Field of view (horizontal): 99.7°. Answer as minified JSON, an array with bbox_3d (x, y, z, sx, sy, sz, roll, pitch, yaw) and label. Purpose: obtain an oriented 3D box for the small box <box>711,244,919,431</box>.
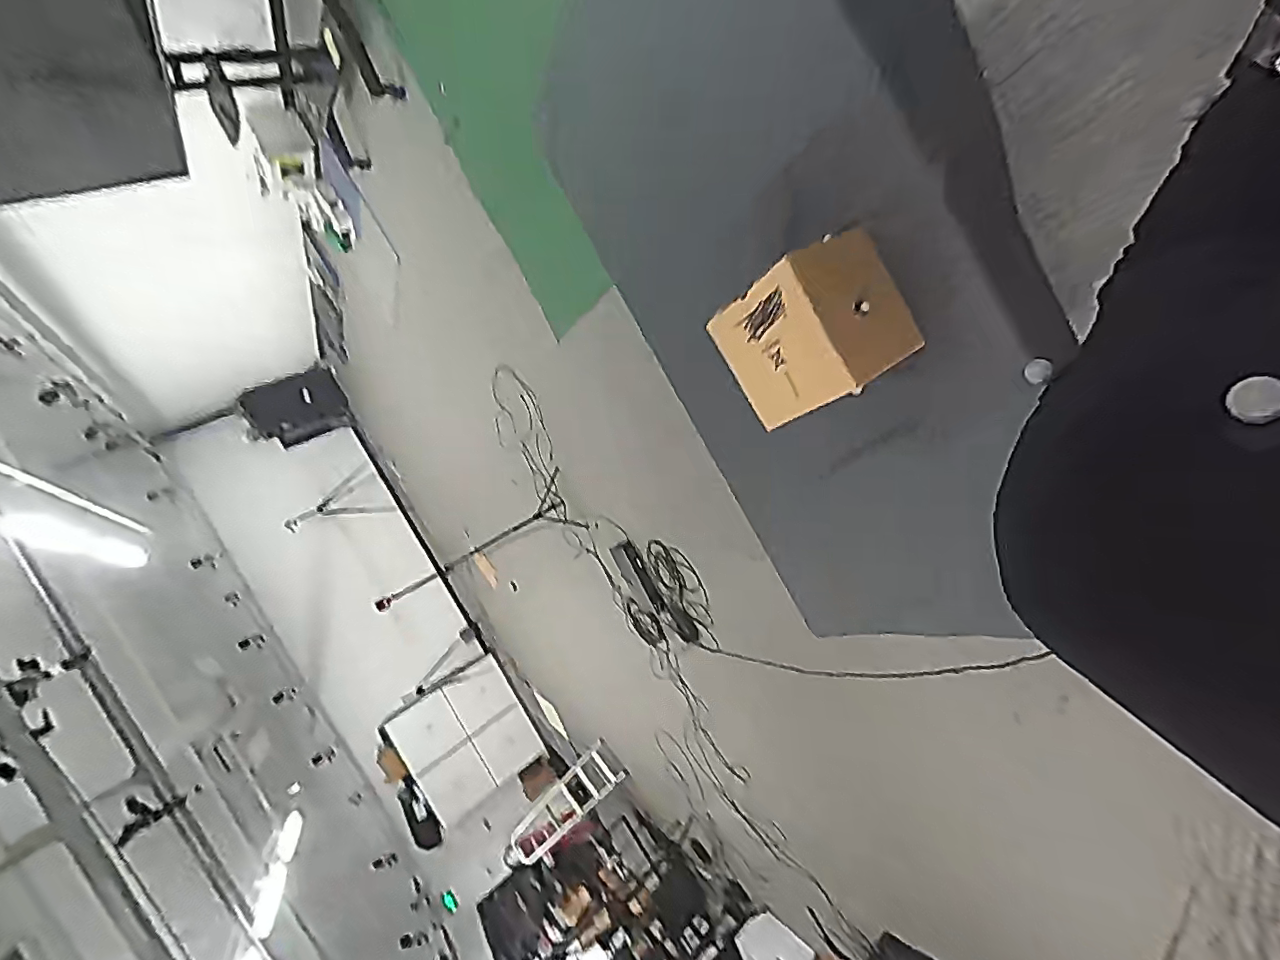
[{"bbox_3d":[0.237,-0.197,0.738,0.179,0.176,0.168,60,151,-2],"label":"small box"}]
